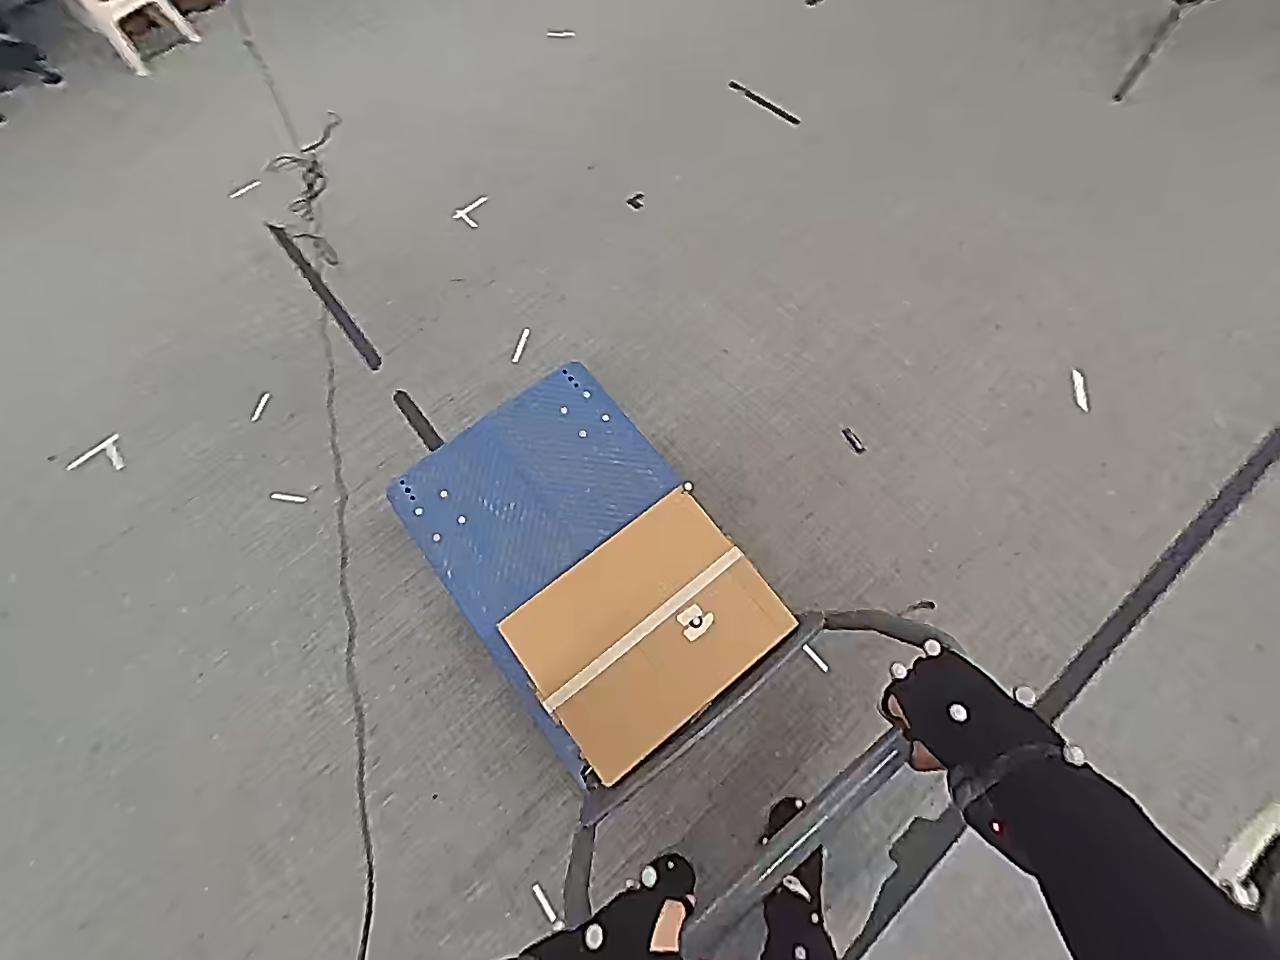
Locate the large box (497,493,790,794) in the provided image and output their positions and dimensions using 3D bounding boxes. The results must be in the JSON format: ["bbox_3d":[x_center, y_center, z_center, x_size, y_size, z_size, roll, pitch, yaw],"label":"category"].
[{"bbox_3d":[0.006,0.300,1.036,0.408,0.320,0.320,-37,76,-12],"label":"large box"}]
